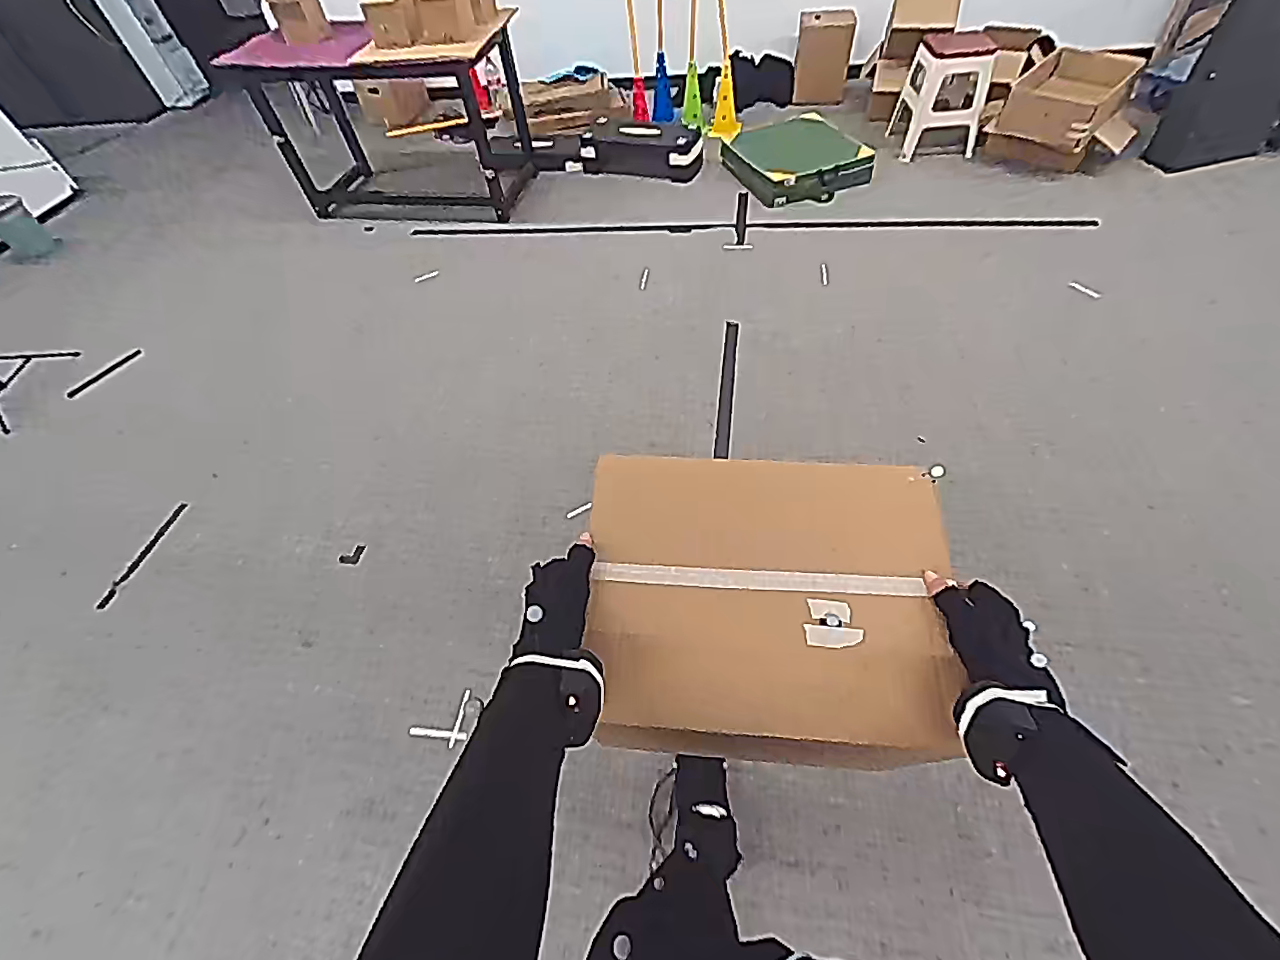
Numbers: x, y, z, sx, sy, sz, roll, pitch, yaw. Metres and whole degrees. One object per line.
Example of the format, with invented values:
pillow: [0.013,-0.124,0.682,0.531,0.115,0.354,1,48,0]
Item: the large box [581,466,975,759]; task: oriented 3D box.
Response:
large box: [0.148,0.194,0.746,0.408,0.320,0.320,2,60,4]
